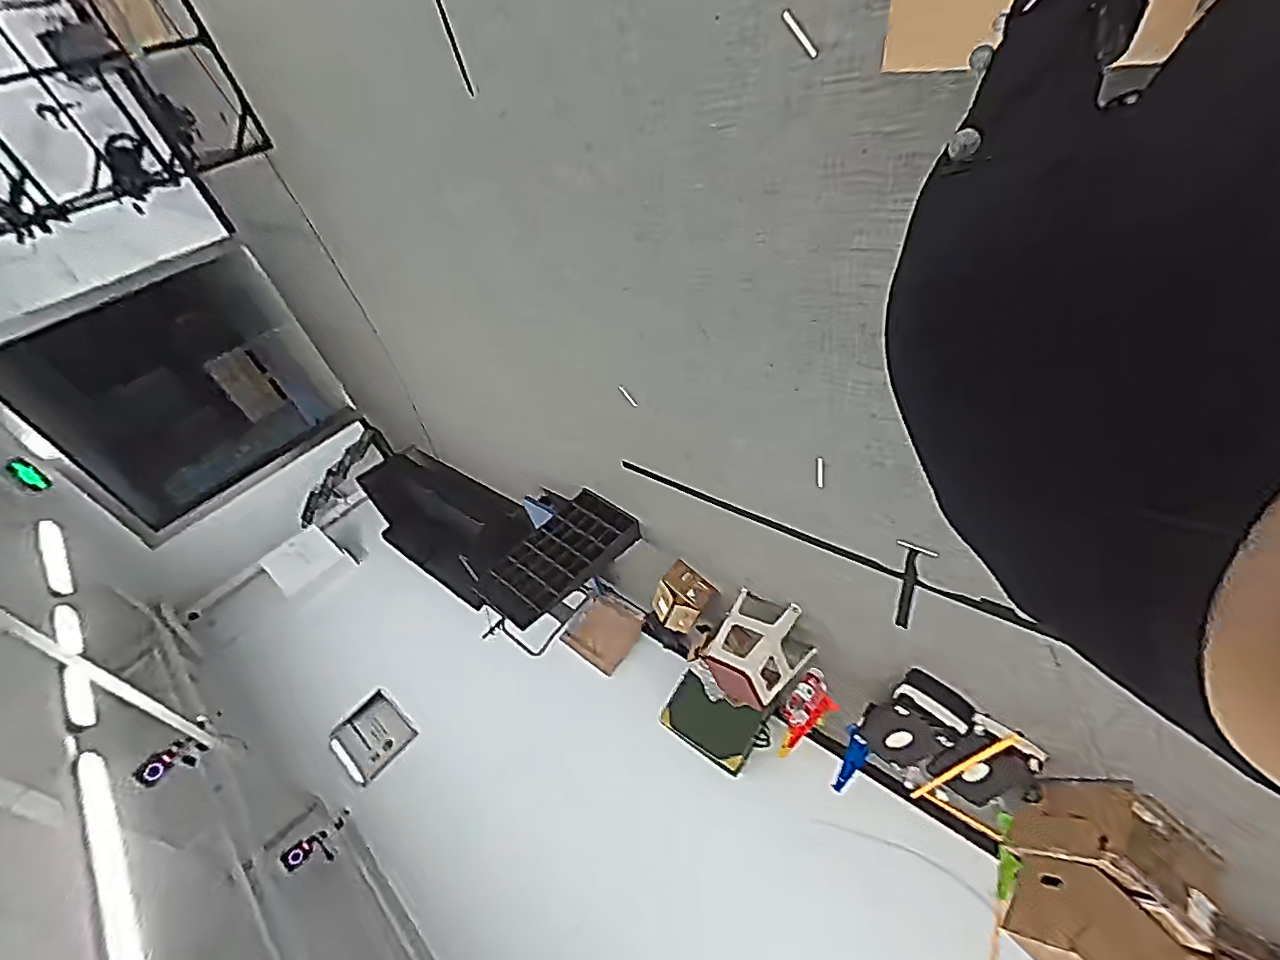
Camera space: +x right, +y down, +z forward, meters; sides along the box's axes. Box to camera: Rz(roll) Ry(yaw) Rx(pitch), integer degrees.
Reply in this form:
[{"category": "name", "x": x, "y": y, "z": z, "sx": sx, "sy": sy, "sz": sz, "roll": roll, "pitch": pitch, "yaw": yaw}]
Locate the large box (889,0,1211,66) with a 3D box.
[{"category": "large box", "x": 0.654, "y": -0.853, "z": 0.810, "sx": 0.408, "sy": 0.320, "sz": 0.320, "roll": 26, "pitch": 145, "yaw": 32}]
